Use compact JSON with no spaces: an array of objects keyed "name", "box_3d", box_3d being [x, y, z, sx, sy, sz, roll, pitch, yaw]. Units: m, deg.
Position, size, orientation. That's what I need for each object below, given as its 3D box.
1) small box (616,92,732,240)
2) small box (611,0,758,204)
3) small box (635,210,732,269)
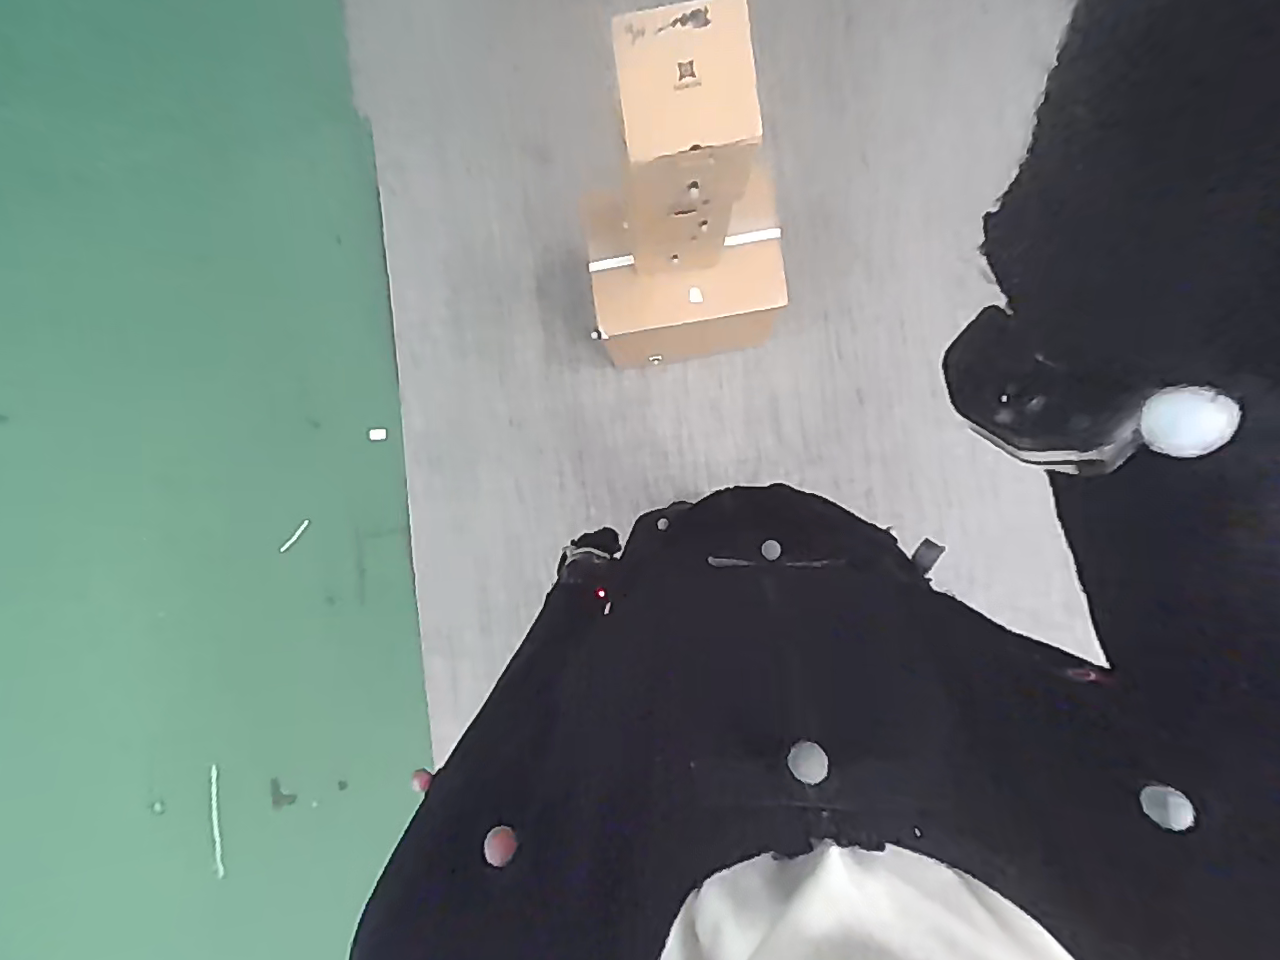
[{"name":"small box","box_3d":[0.061,-0.518,0.898,0.168,0.176,0.179,-8,93,4]},{"name":"small box","box_3d":[0.062,-0.499,0.735,0.168,0.176,0.179,-7,95,5]},{"name":"small box","box_3d":[0.076,-0.532,1.059,0.179,0.176,0.168,-9,94,5]}]
